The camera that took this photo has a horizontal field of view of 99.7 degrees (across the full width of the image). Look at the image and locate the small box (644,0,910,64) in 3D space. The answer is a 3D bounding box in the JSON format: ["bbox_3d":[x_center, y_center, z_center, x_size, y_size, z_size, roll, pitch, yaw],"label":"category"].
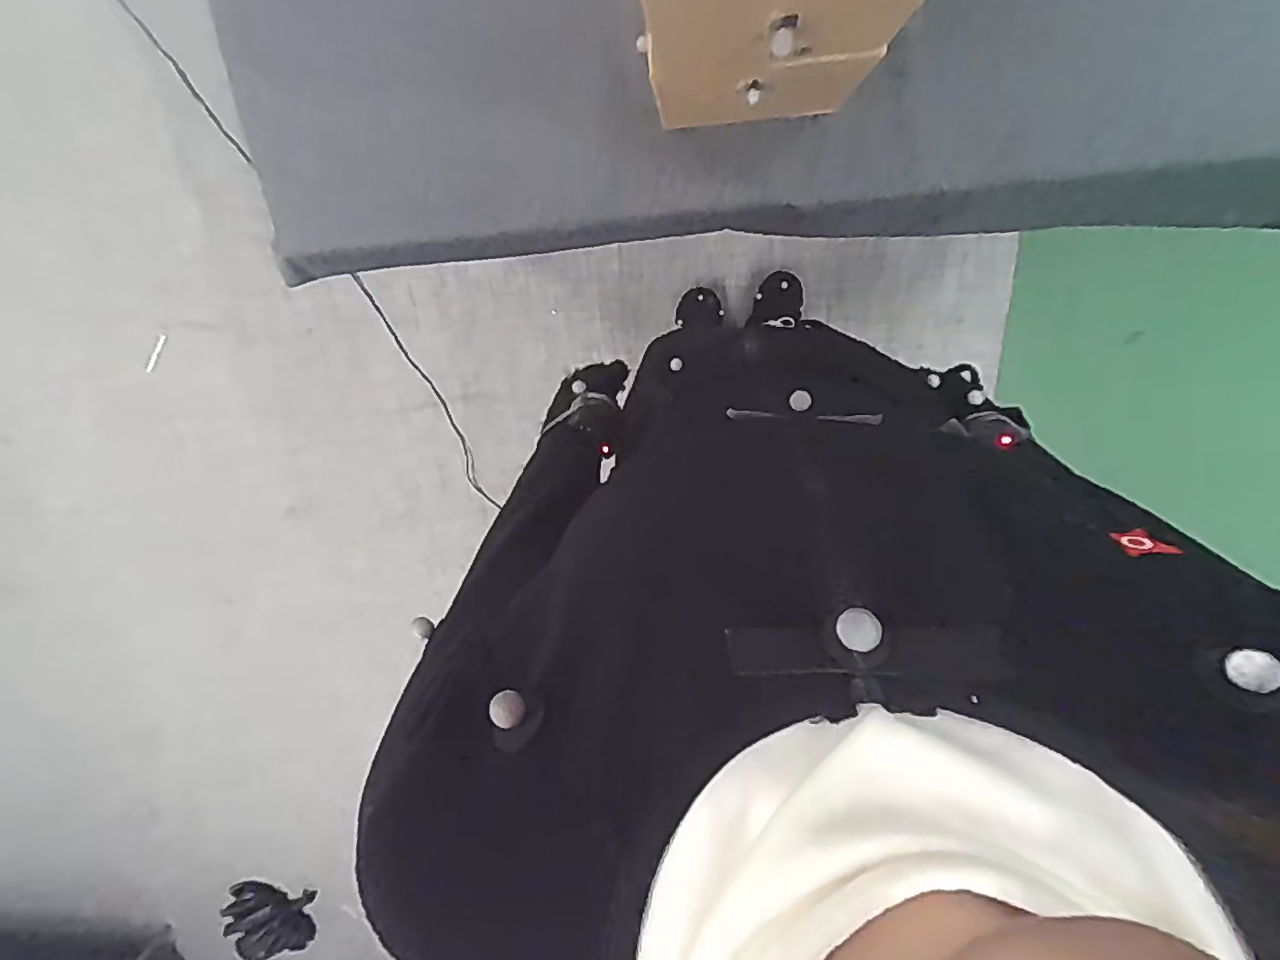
[{"bbox_3d":[0.082,-0.360,0.298,0.168,0.176,0.179,-3,112,8],"label":"small box"}]

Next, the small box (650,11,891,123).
[{"bbox_3d":[0.099,-0.416,0.450,0.179,0.176,0.168,-2,112,6],"label":"small box"}]
